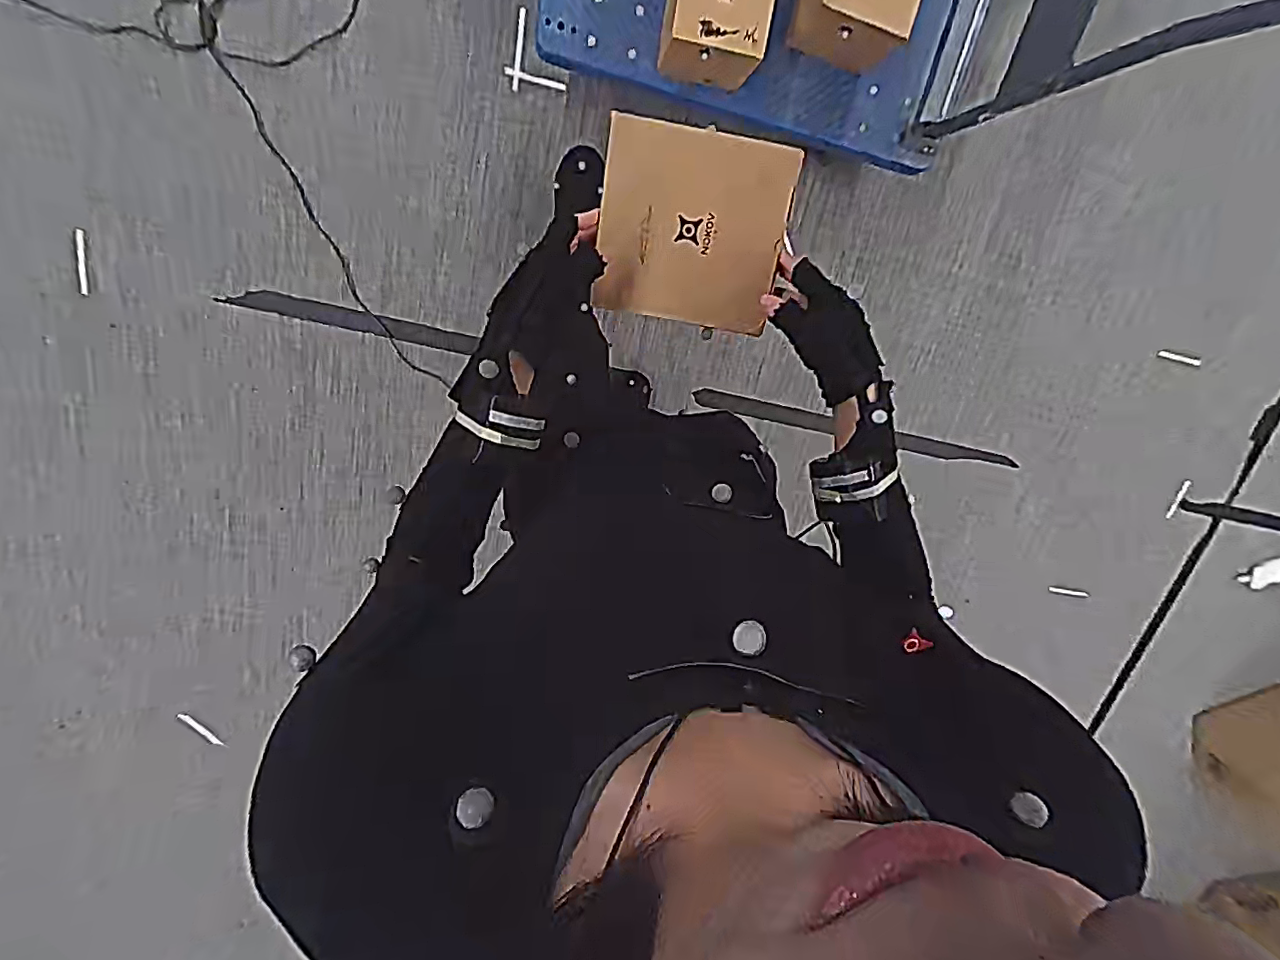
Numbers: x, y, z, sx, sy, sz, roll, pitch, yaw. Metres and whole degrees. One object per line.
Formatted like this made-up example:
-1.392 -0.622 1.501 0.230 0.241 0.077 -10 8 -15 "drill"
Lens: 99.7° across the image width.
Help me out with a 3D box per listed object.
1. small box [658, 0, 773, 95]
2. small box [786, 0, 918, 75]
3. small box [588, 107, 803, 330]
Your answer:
0.133 -0.837 0.973 0.168 0.176 0.179 6 107 -10 "small box"
0.393 -0.886 0.990 0.179 0.176 0.168 11 107 -12 "small box"
0.047 -0.261 0.577 0.179 0.176 0.168 9 107 -3 "small box"
